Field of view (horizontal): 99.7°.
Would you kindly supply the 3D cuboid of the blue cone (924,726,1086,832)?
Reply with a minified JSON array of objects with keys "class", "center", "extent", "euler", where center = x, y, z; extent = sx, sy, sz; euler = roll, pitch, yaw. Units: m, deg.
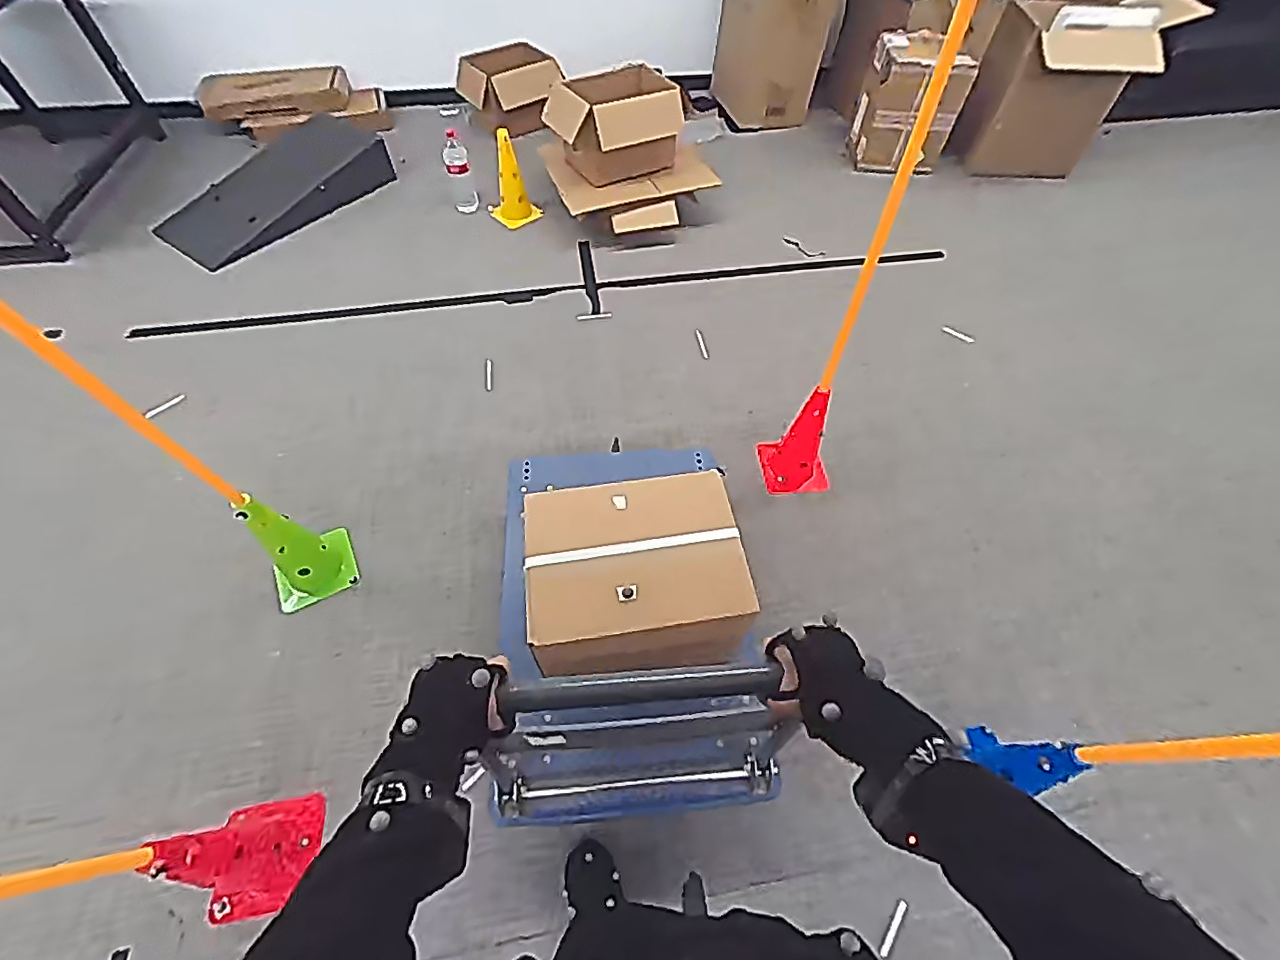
[{"class":"blue cone","center":[0.772,0.585,1.101],"extent":[0.193,0.380,0.192],"euler":[-10,55,-9]}]

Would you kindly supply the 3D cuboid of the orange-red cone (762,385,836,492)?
[{"class":"orange-red cone","center":[0.501,-0.140,1.580],"extent":[0.199,0.360,0.198],"euler":[-1,56,-3]}]
